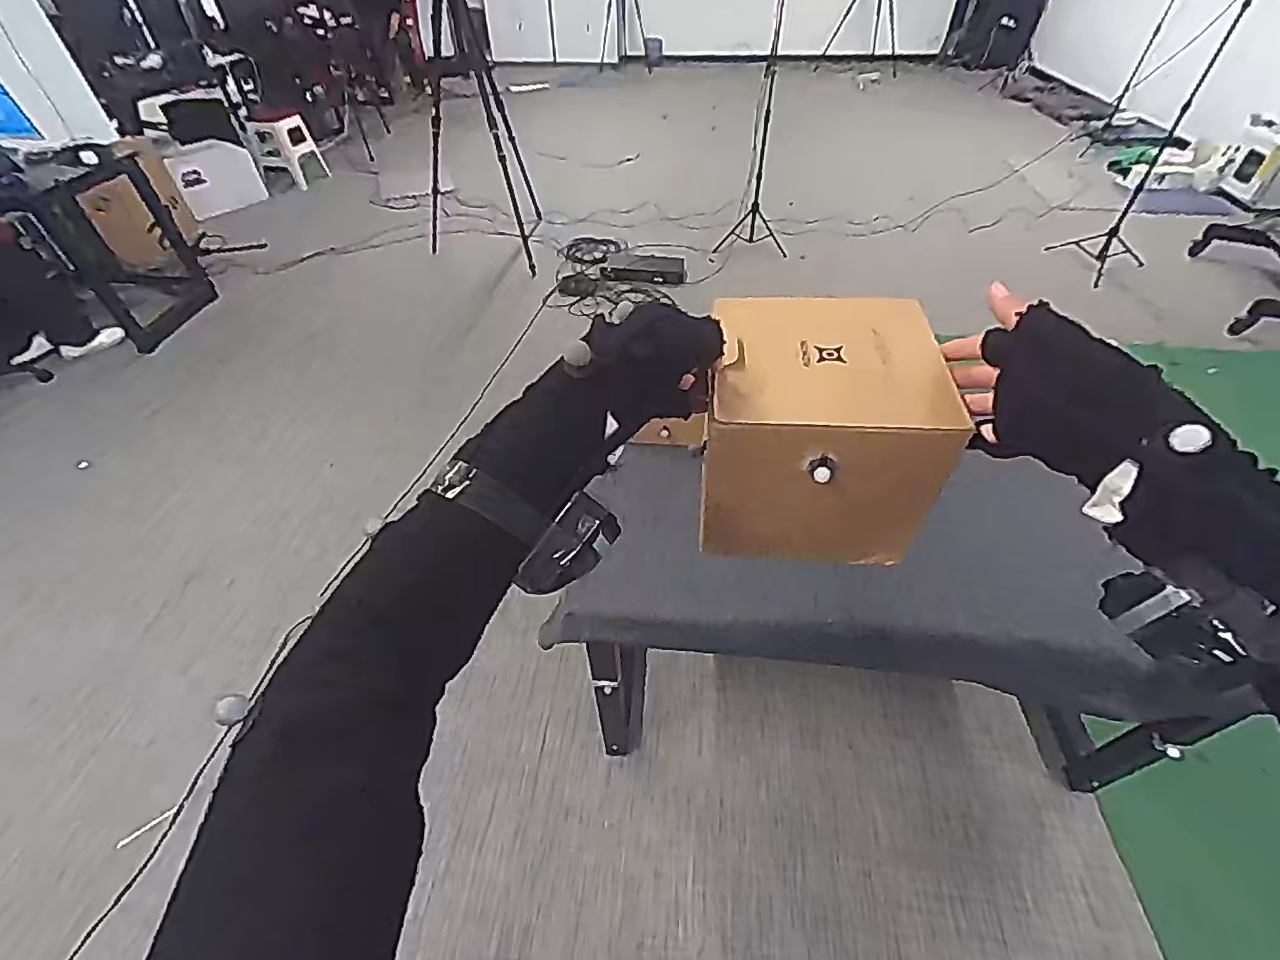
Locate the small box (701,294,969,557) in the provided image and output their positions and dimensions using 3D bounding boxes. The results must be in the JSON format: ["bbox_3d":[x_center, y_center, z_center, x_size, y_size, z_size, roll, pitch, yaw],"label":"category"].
[{"bbox_3d":[0.146,-0.046,0.481,0.179,0.176,0.168,3,49,4],"label":"small box"}]

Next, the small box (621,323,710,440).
[{"bbox_3d":[0.056,-0.196,1.092,0.179,0.176,0.168,3,47,2],"label":"small box"}]
